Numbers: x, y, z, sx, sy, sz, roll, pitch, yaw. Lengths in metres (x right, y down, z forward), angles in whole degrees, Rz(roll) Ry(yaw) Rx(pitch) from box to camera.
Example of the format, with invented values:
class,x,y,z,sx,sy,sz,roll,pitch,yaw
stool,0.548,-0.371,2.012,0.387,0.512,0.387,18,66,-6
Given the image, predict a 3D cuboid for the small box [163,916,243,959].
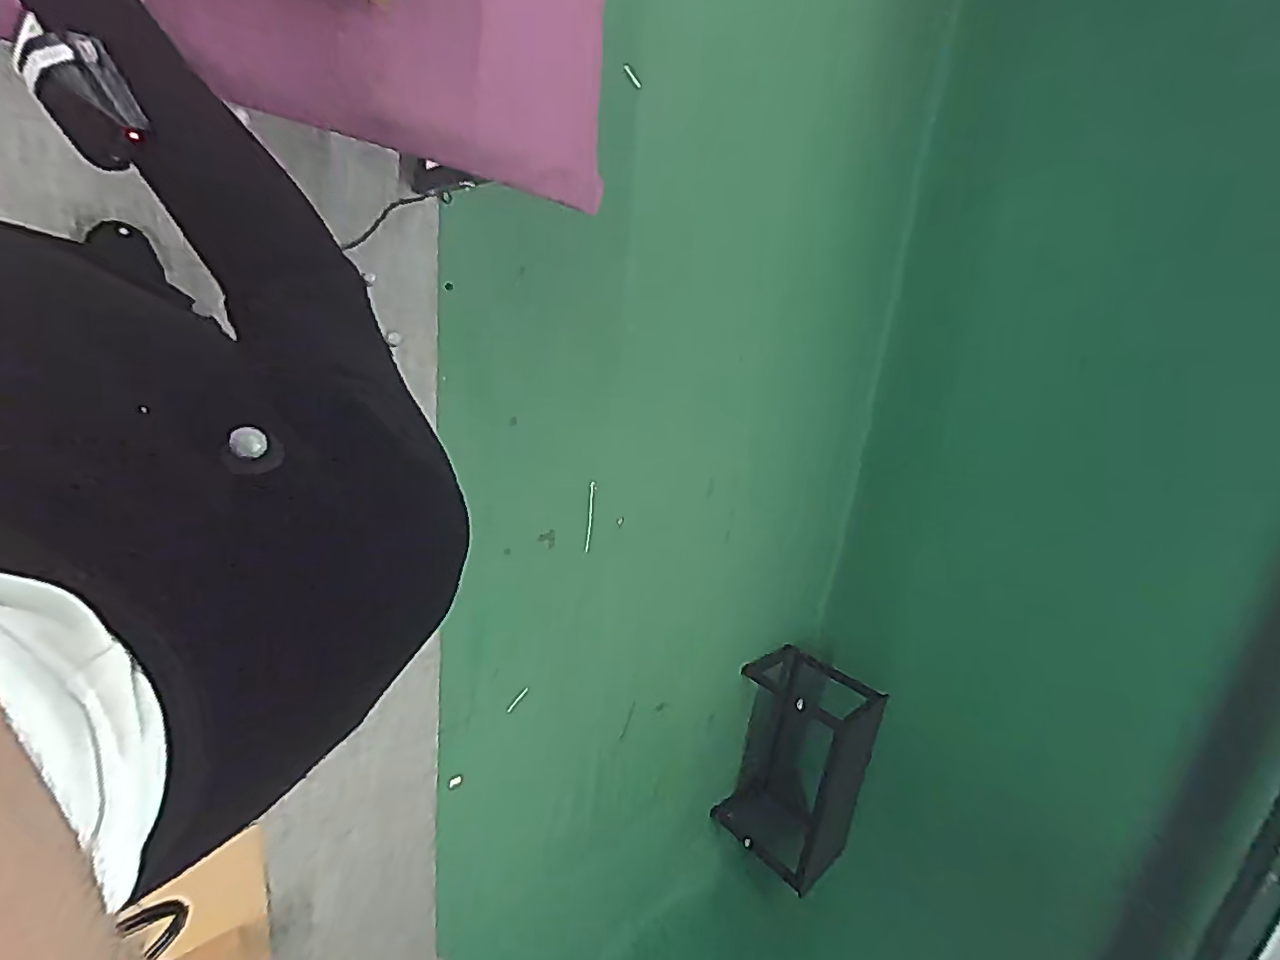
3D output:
class,x,y,z,sx,sy,sz,roll,pitch,yaw
small box,-1.299,1.471,1.607,0.179,0.176,0.168,-6,111,-44
